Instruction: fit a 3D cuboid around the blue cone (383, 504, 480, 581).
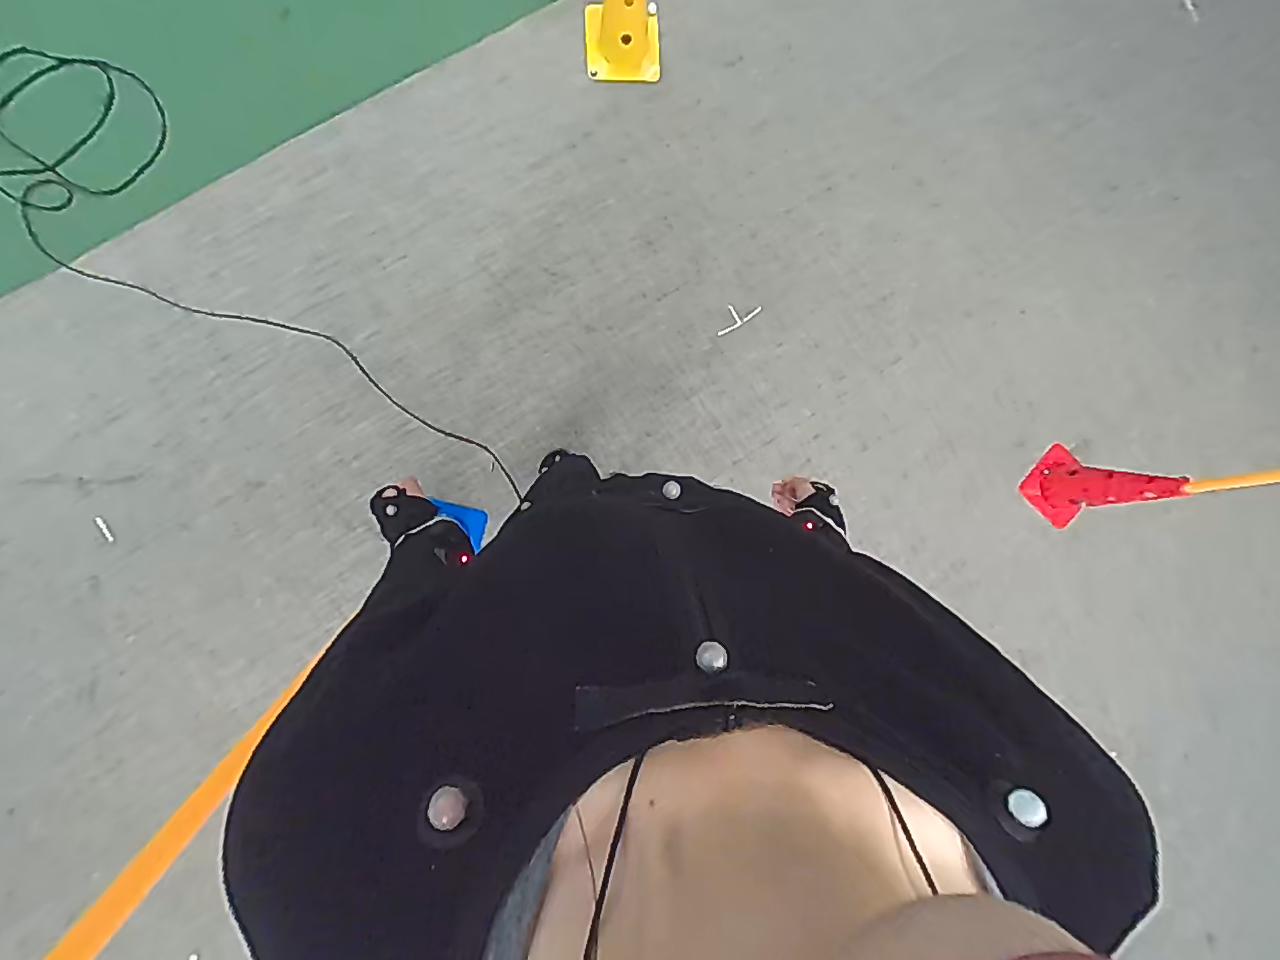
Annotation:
[{"bbox_3d":[-0.508,0.176,1.263,0.192,0.380,0.193,13,92,-8],"label":"blue cone"}]
